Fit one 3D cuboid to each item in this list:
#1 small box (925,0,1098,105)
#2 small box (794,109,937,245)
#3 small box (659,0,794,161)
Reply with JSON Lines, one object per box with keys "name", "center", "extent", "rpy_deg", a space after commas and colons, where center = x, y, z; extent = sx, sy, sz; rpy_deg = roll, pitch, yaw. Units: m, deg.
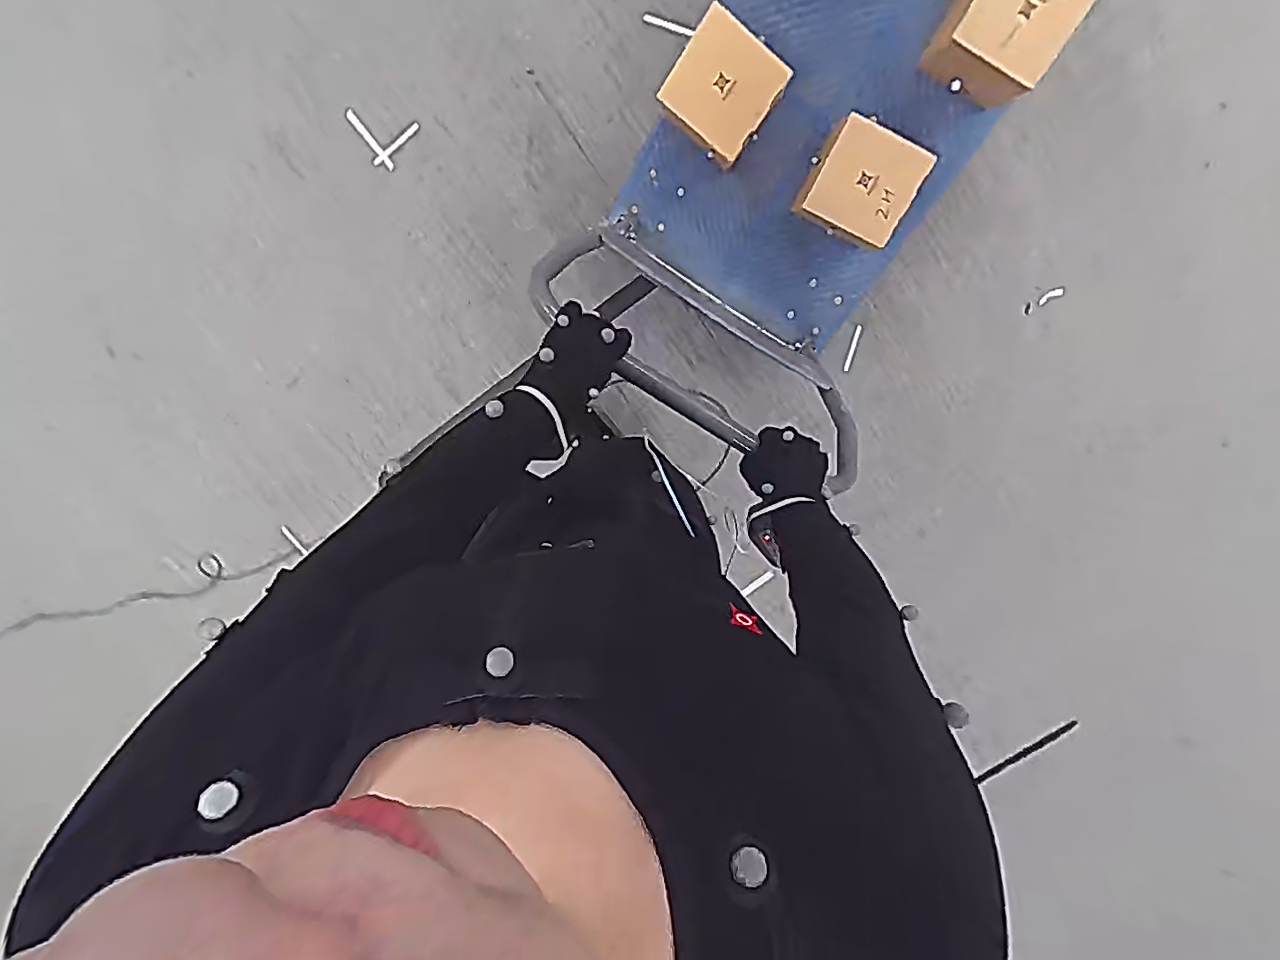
{"name": "small box", "center": [0.626, -0.782, 0.916], "extent": [0.168, 0.176, 0.179], "rpy_deg": [28, 116, -6]}
{"name": "small box", "center": [0.419, -0.571, 1.042], "extent": [0.179, 0.176, 0.168], "rpy_deg": [26, 116, -5]}
{"name": "small box", "center": [0.154, -0.725, 1.005], "extent": [0.179, 0.176, 0.168], "rpy_deg": [35, 114, -11]}
